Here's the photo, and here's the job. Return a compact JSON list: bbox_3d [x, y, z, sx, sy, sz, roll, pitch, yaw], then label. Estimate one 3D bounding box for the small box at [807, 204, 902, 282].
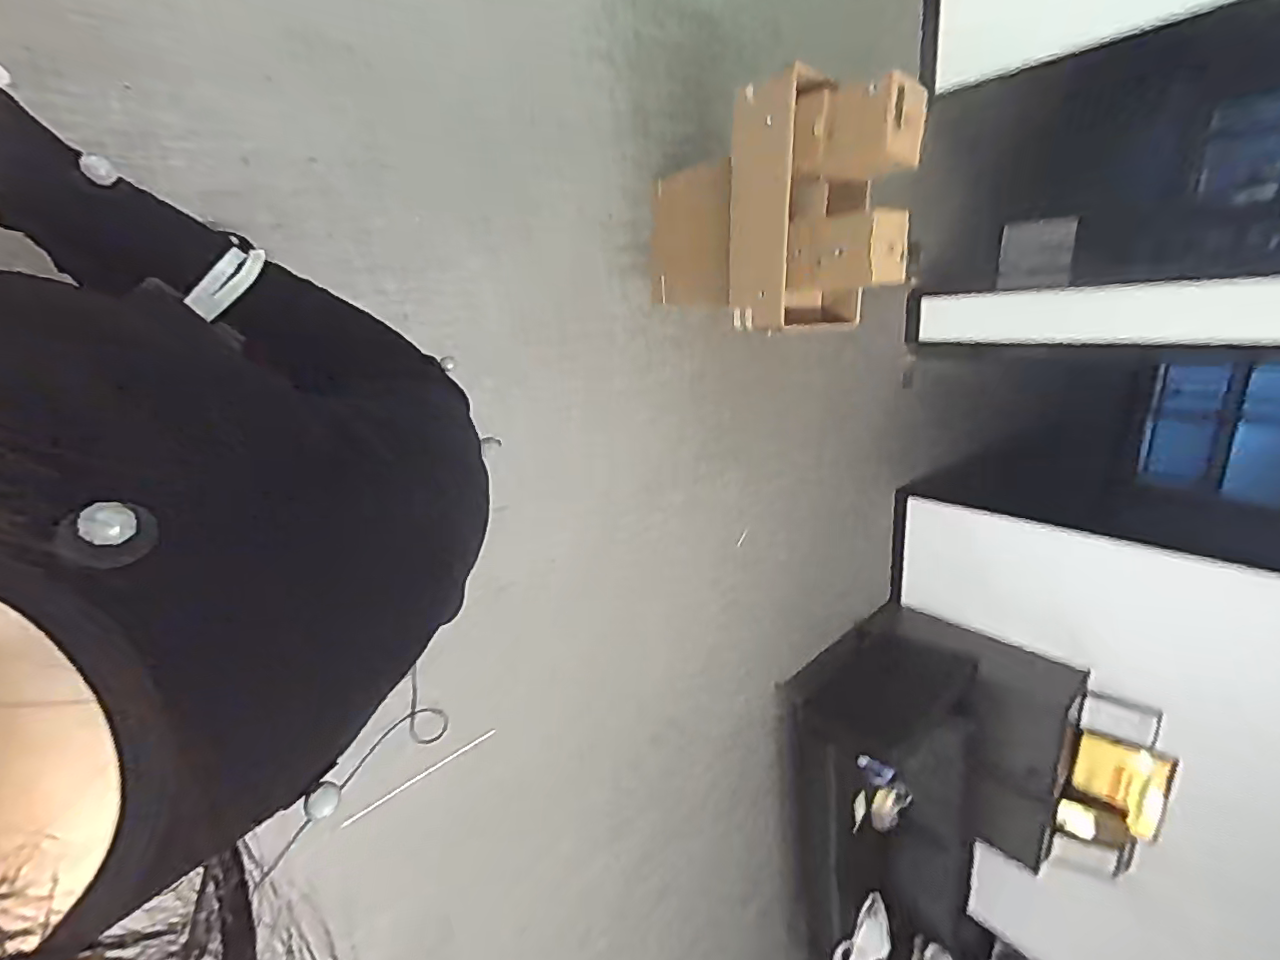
[{"bbox_3d":[0.552,-0.609,1.403,0.179,0.176,0.168,-18,113,-36],"label":"small box"}]
